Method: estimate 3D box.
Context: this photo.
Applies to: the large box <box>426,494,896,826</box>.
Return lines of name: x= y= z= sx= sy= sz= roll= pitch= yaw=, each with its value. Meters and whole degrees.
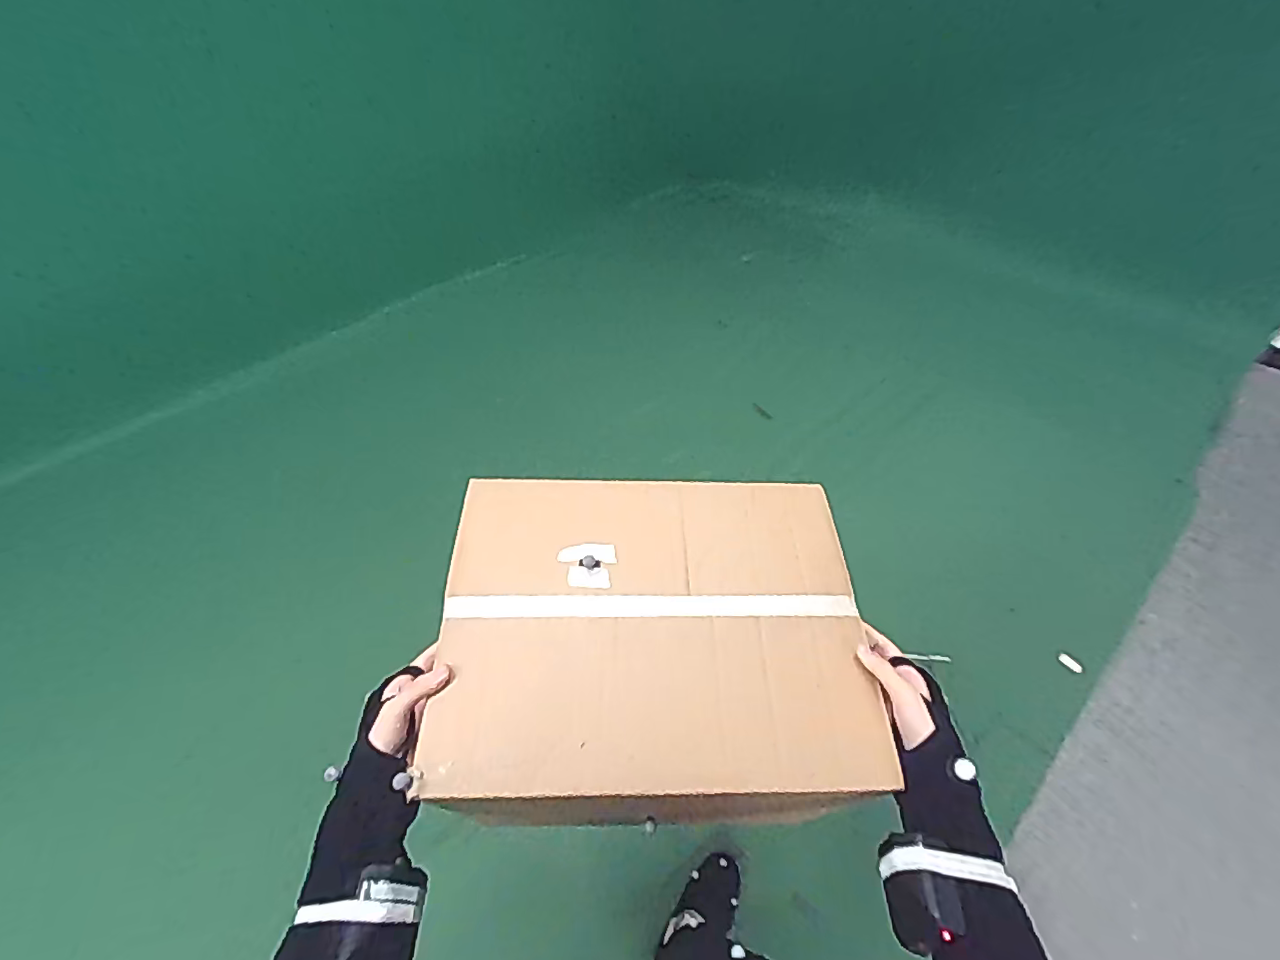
large box: x=0.015 y=0.228 z=0.657 sx=0.408 sy=0.320 sz=0.320 roll=1 pitch=53 yaw=-2
